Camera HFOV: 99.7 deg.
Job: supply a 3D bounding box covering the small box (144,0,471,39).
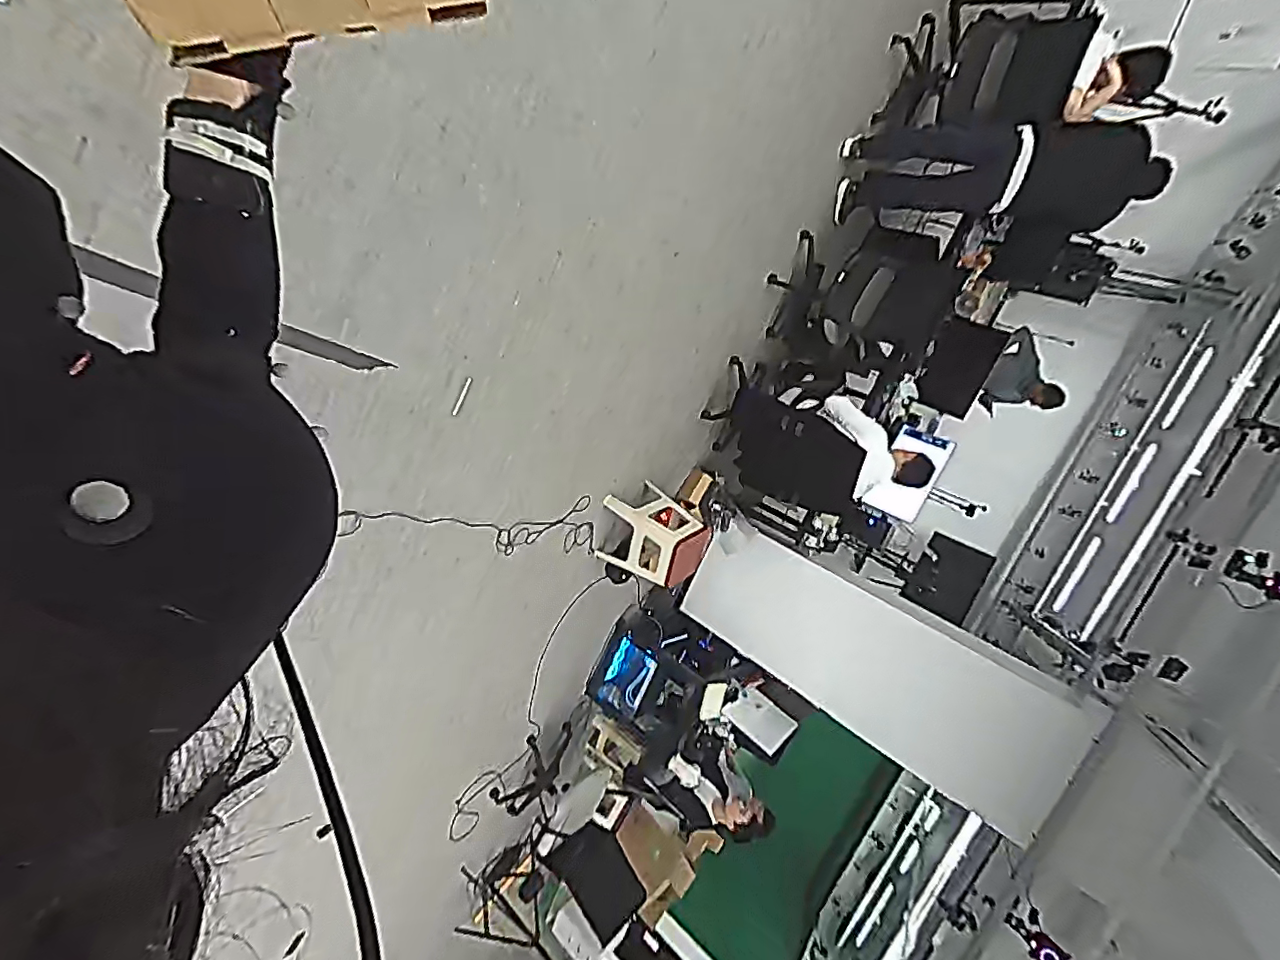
[{"bbox_3d":[-0.185,-0.348,0.250,0.168,0.179,0.176,-14,149,-9],"label":"small box"}]
